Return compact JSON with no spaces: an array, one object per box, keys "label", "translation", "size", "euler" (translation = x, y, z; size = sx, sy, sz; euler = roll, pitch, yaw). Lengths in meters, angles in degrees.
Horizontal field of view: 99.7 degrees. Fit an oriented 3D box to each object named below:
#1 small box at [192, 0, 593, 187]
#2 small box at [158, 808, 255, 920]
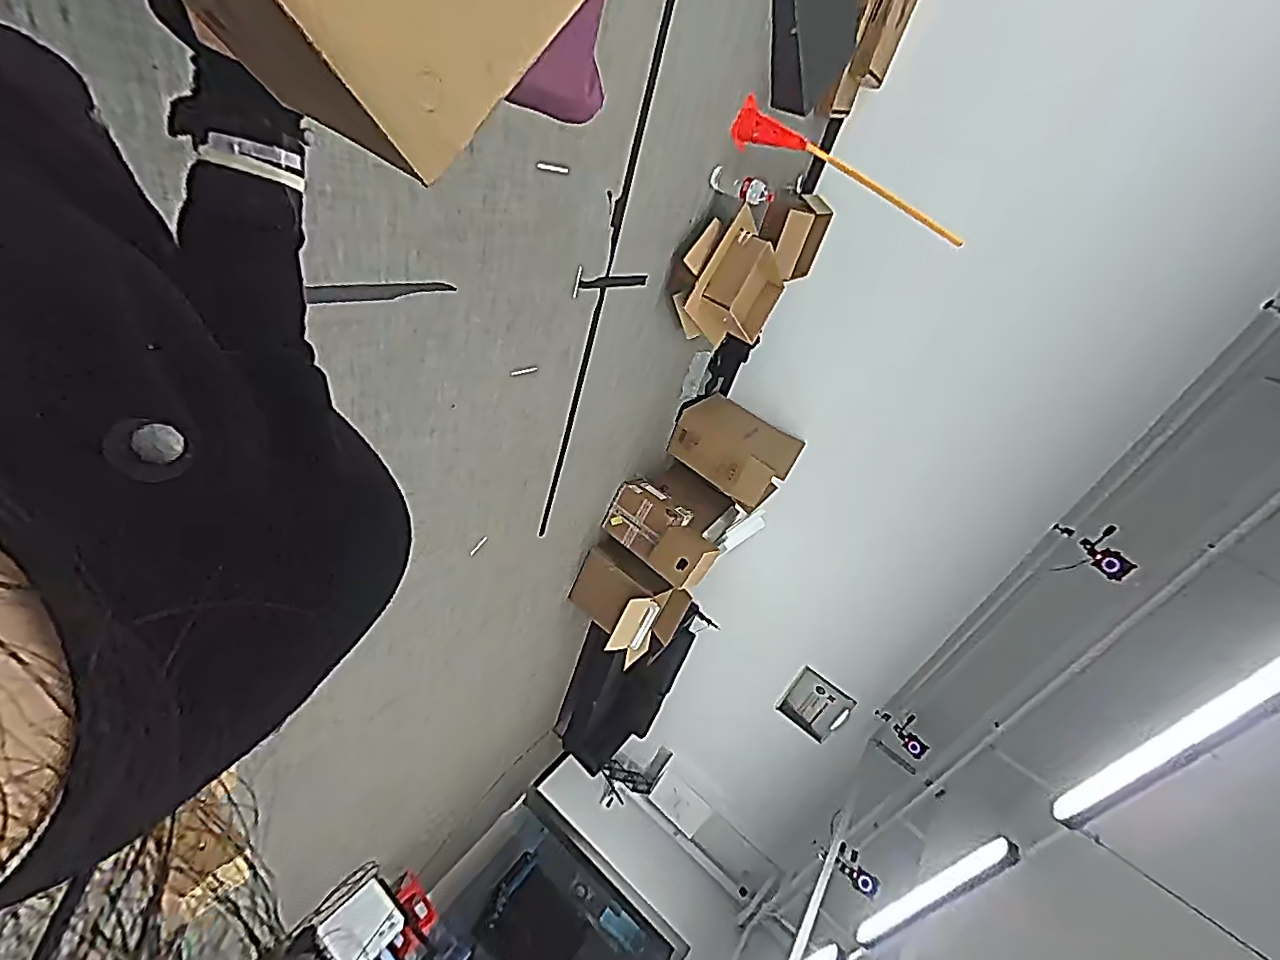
[{"label":"small box","translation":[-0.154,-0.304,0.282],"size":[0.179,0.176,0.168],"euler":[-54,159,-4]},{"label":"small box","translation":[-1.235,1.084,1.543],"size":[0.168,0.176,0.179],"euler":[-25,143,-53]}]
